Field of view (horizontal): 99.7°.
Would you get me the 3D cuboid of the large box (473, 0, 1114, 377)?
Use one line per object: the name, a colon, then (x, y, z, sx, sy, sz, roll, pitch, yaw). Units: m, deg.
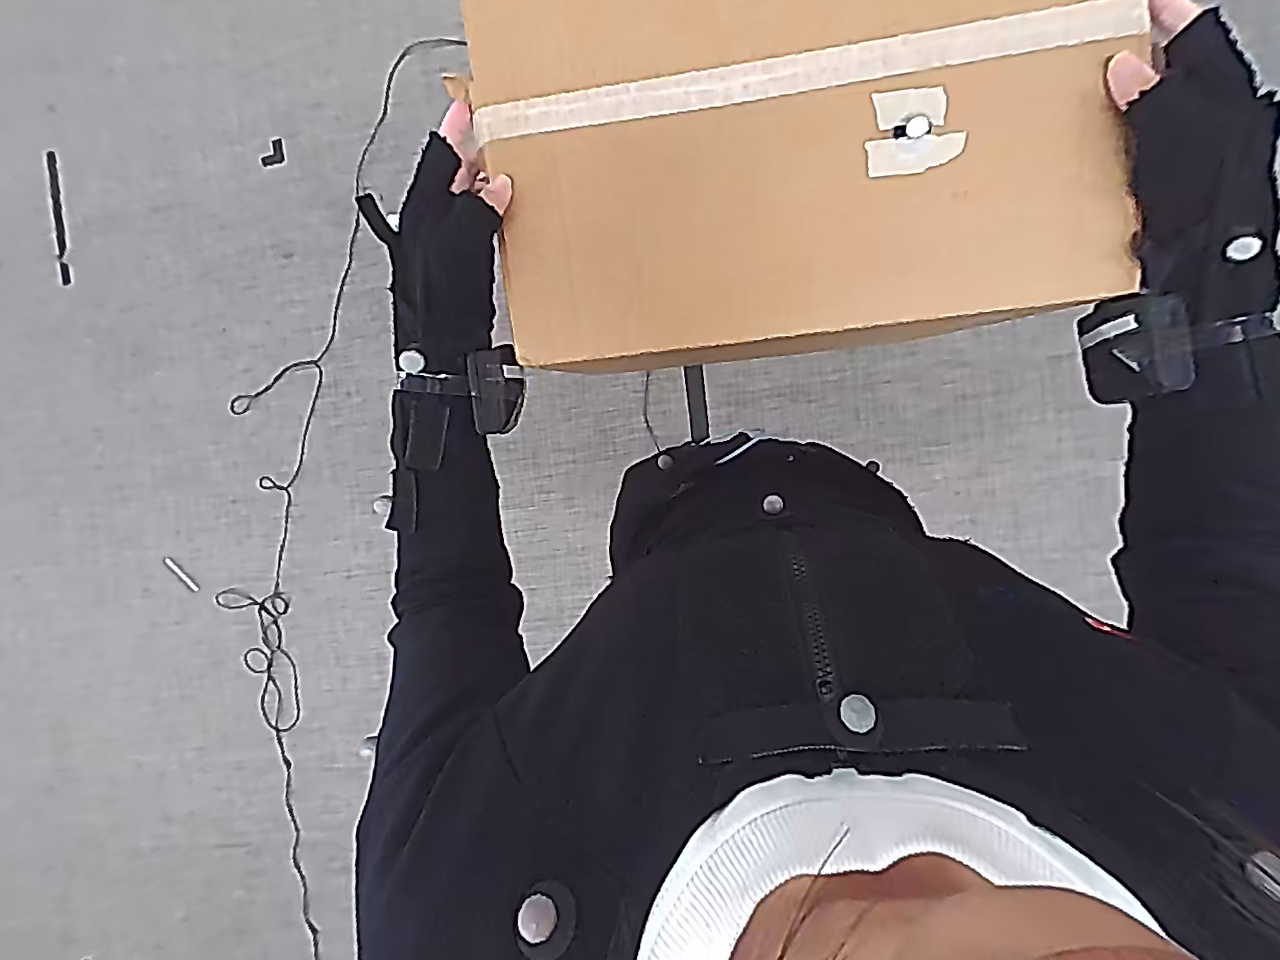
large box: (0.104, -0.280, 0.499, 0.408, 0.320, 0.320, -6, 100, 4)
